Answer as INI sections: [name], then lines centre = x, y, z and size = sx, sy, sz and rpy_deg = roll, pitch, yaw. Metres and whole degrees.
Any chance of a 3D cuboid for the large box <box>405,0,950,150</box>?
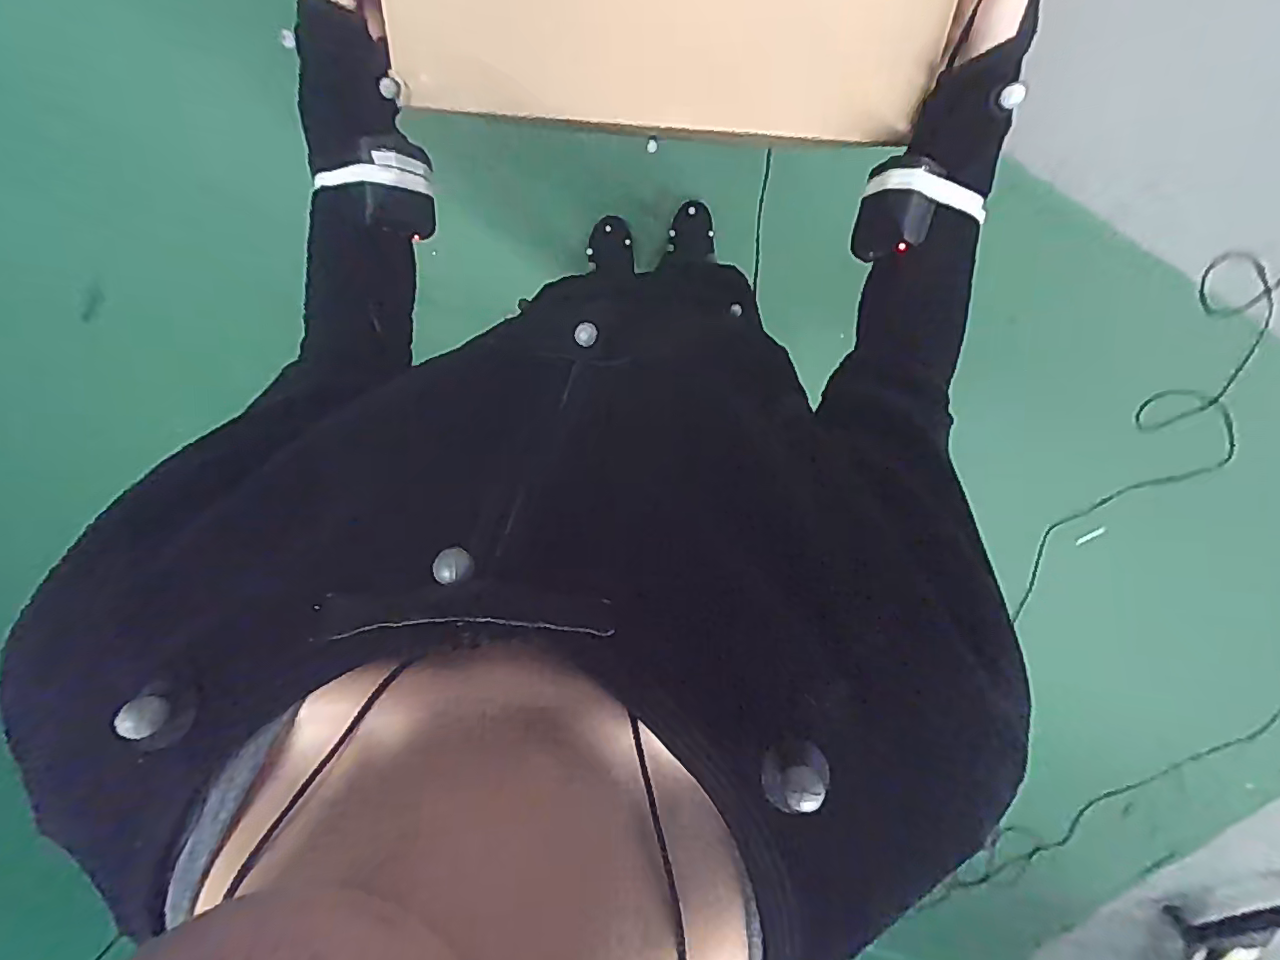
[large box]
centre = 0.033, -0.487, 0.480
size = 0.408, 0.320, 0.320
rpy_deg = 3, 121, -2
